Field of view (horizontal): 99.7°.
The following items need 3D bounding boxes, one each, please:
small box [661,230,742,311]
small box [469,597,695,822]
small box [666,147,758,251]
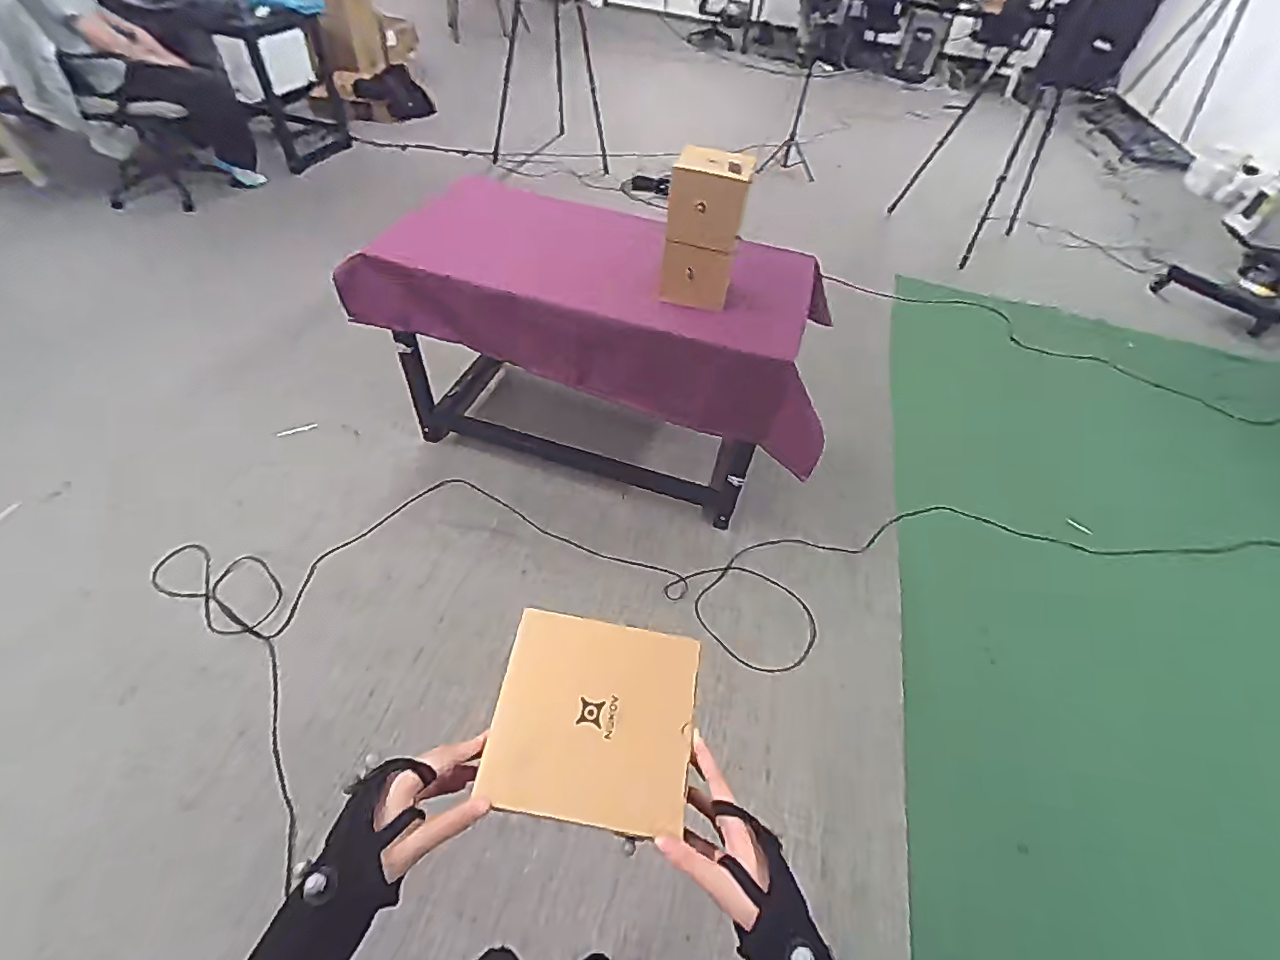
[{"bbox_3d":[0.160,-0.574,1.444,0.179,0.176,0.168,14,49,7],"label":"small box"},{"bbox_3d":[-0.051,0.239,0.549,0.179,0.176,0.168,11,57,0],"label":"small box"},{"bbox_3d":[0.173,-0.681,1.319,0.179,0.176,0.168,15,48,7],"label":"small box"}]
